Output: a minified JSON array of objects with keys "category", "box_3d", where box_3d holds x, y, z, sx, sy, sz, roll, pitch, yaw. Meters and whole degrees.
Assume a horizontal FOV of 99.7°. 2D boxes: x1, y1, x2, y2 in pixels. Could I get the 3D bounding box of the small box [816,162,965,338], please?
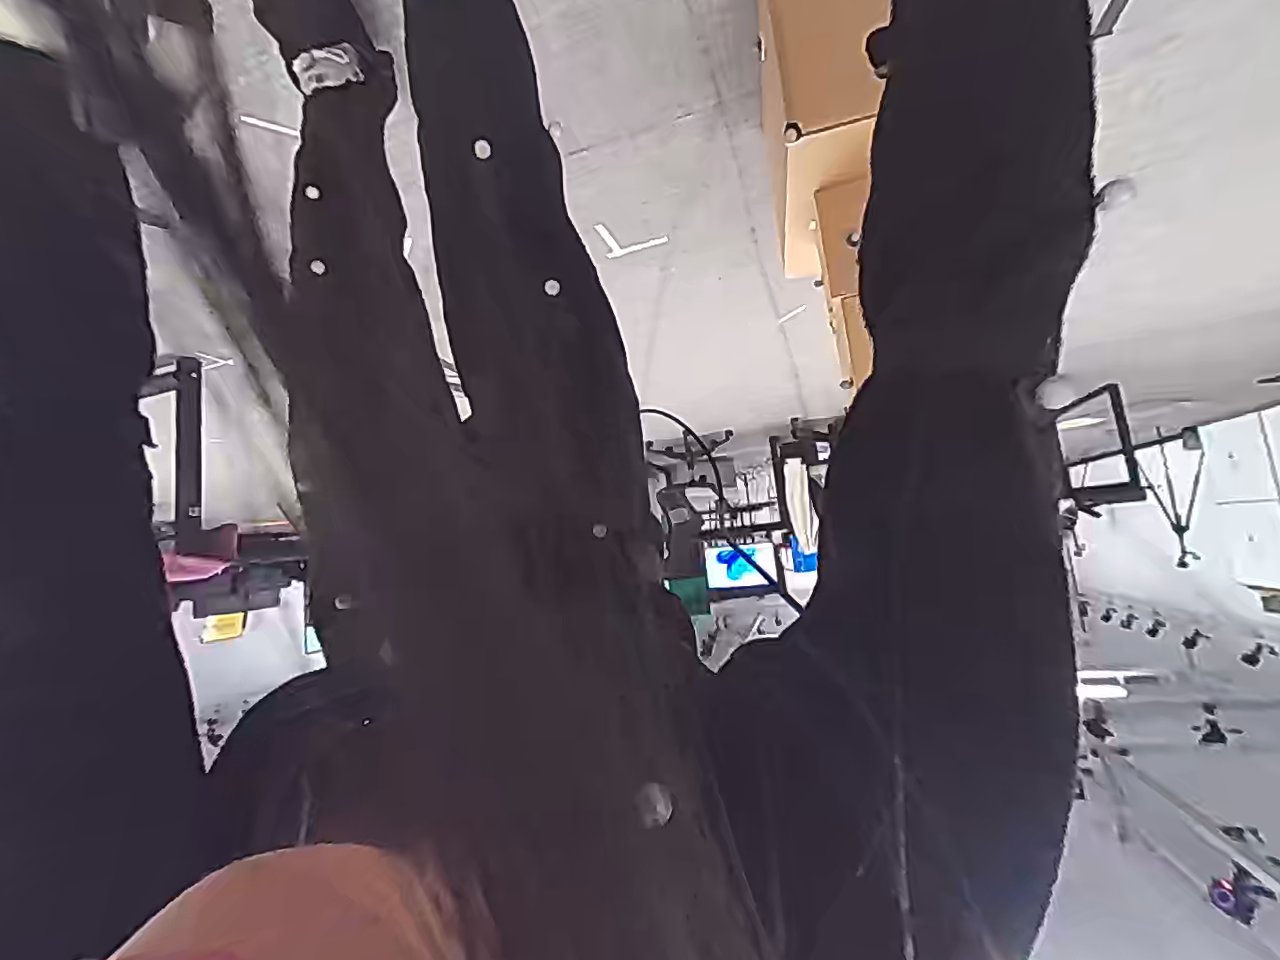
[{"category":"small box","box_3d":[0.369,-0.343,0.831,0.179,0.176,0.168,-9,173,19]}]
